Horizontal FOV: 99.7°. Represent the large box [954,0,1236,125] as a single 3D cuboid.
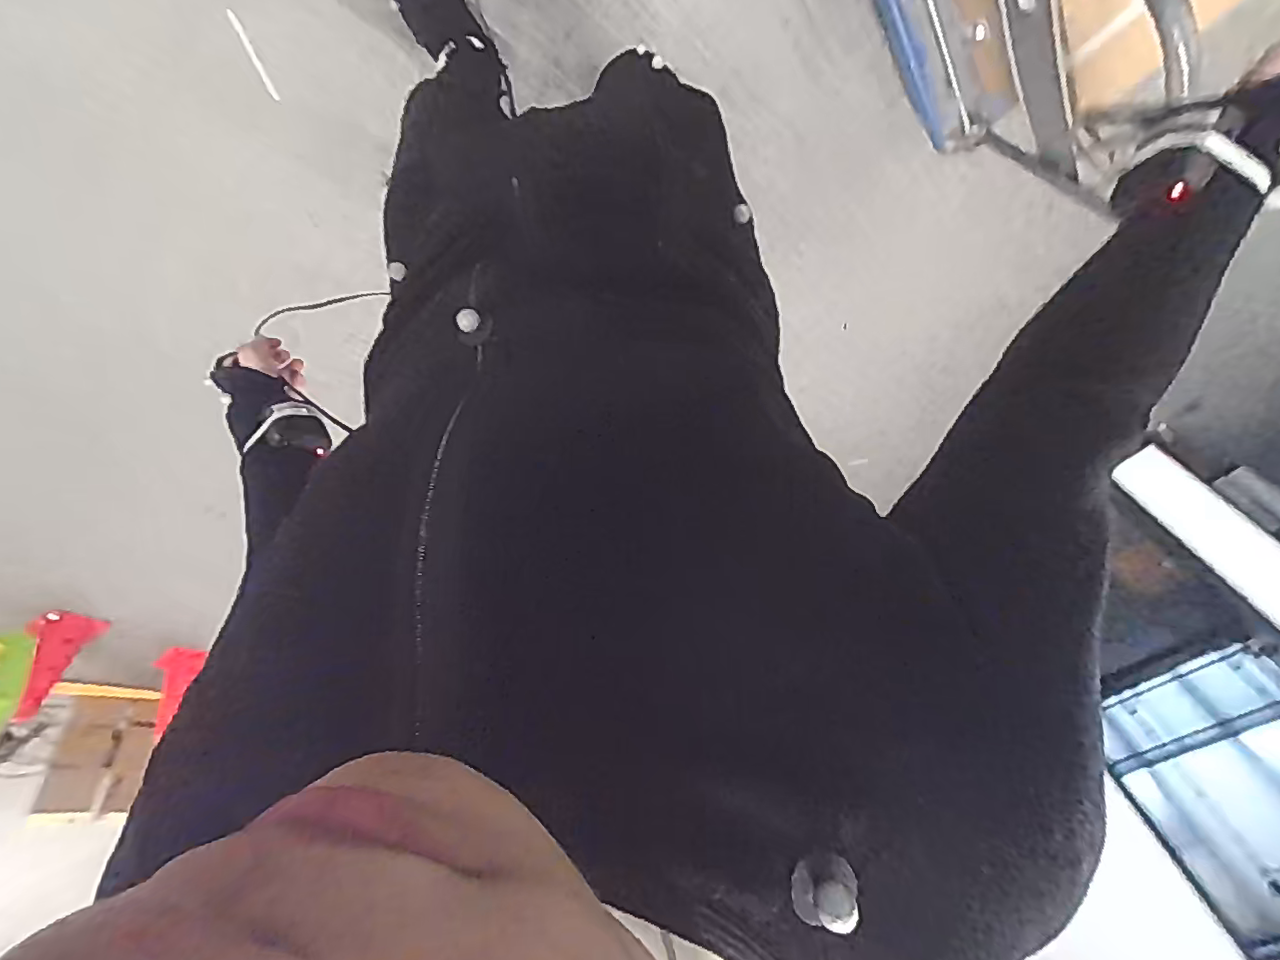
[{"bbox_3d":[0.851,-0.956,0.961,0.408,0.320,0.320,-39,135,22],"label":"large box"}]
